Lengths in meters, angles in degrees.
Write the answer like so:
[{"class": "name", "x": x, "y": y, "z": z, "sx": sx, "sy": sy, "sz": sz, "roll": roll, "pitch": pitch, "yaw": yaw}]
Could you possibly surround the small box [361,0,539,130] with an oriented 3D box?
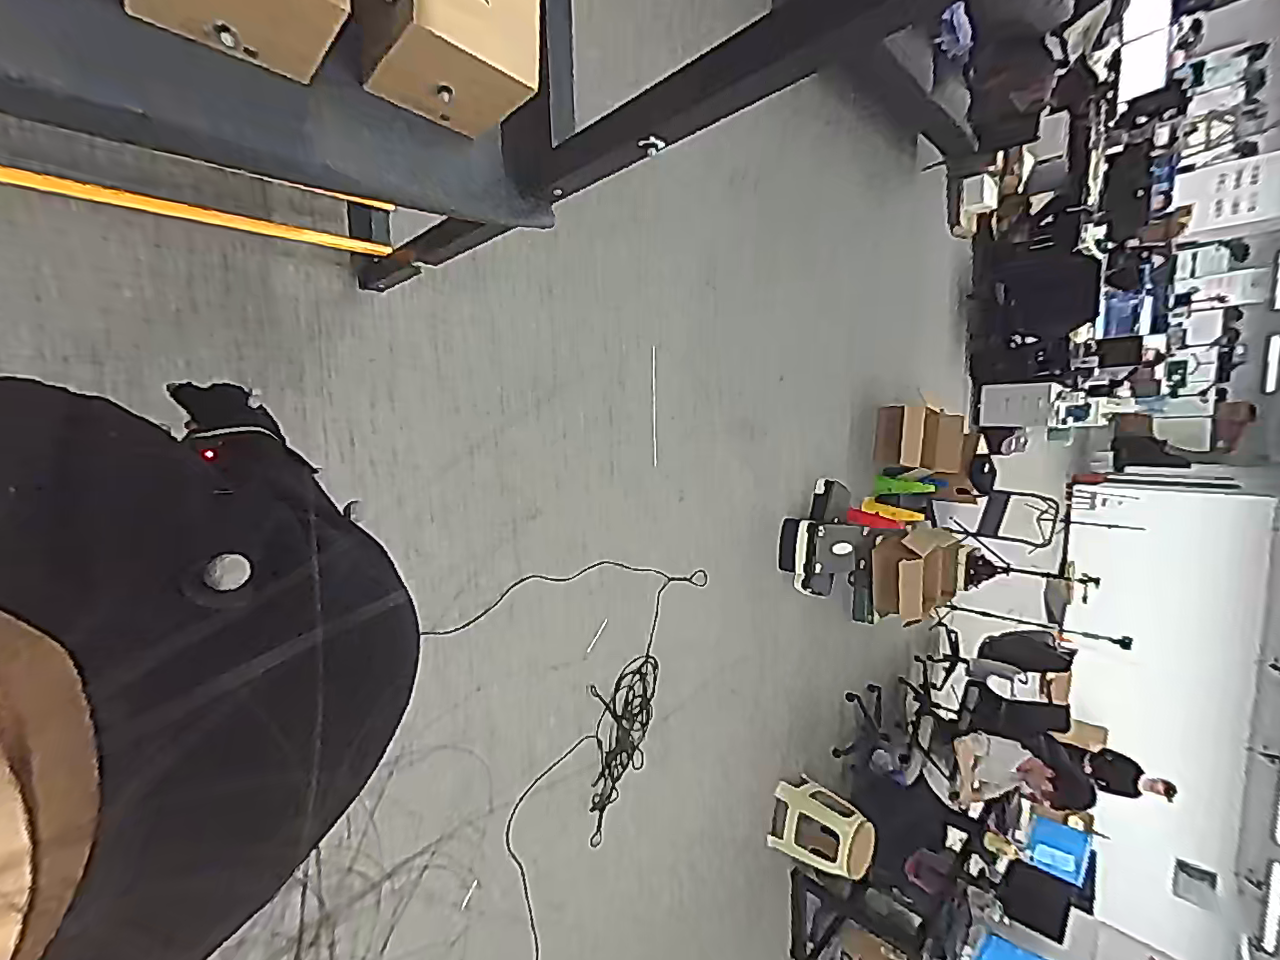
[{"class": "small box", "x": -0.248, "y": -0.600, "z": 0.701, "sx": 0.168, "sy": 0.176, "sz": 0.179, "roll": -2, "pitch": 95, "yaw": -45}]
